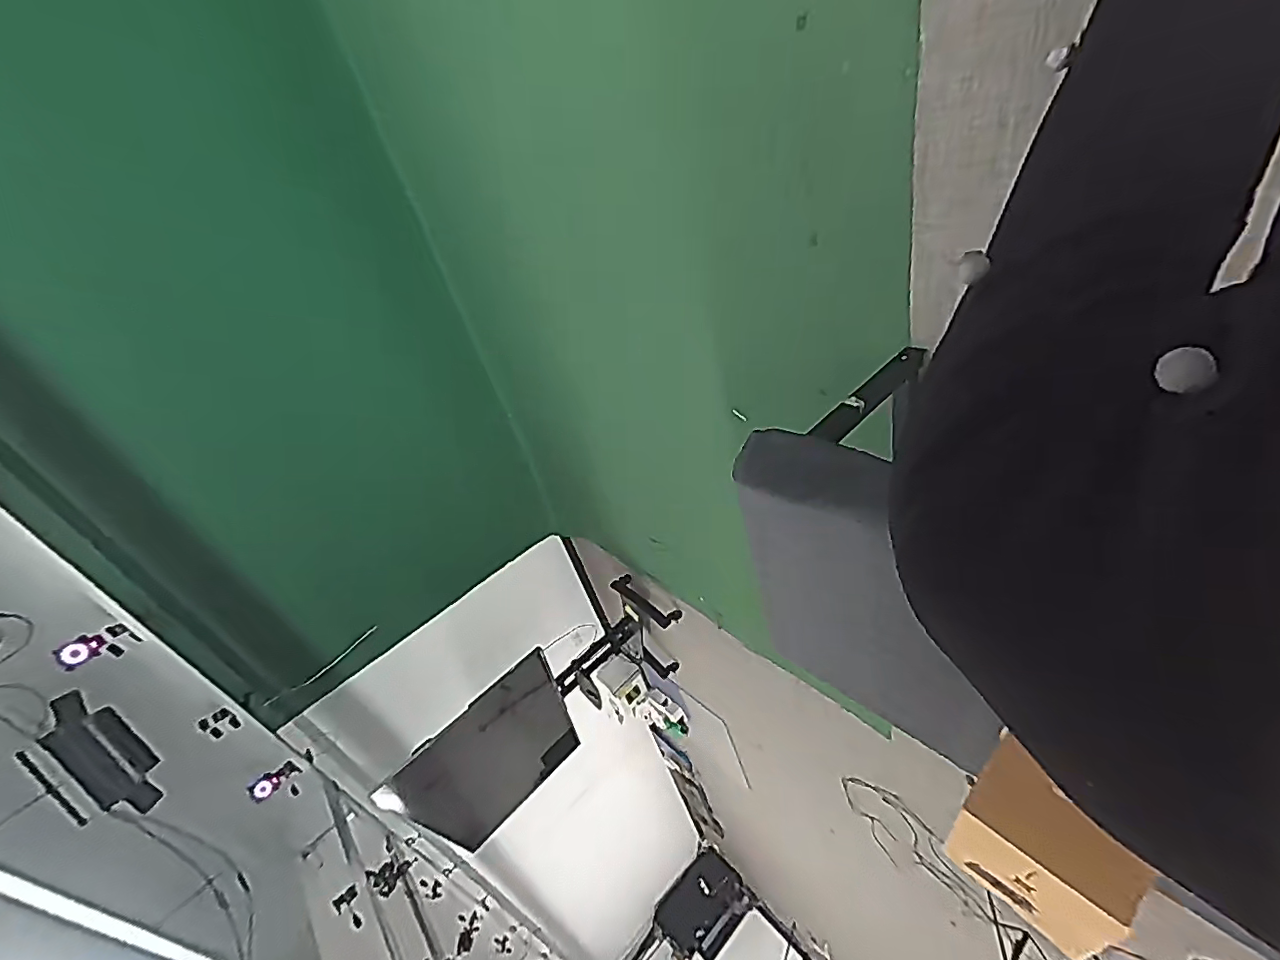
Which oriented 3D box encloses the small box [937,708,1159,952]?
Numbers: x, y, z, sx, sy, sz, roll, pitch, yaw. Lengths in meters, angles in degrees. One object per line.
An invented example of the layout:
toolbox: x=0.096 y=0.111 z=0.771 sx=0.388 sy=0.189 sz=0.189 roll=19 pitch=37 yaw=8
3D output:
small box: x=0.508 y=0.436 z=0.688 sx=0.168 sy=0.176 sz=0.179 roll=29 pitch=148 yaw=44
